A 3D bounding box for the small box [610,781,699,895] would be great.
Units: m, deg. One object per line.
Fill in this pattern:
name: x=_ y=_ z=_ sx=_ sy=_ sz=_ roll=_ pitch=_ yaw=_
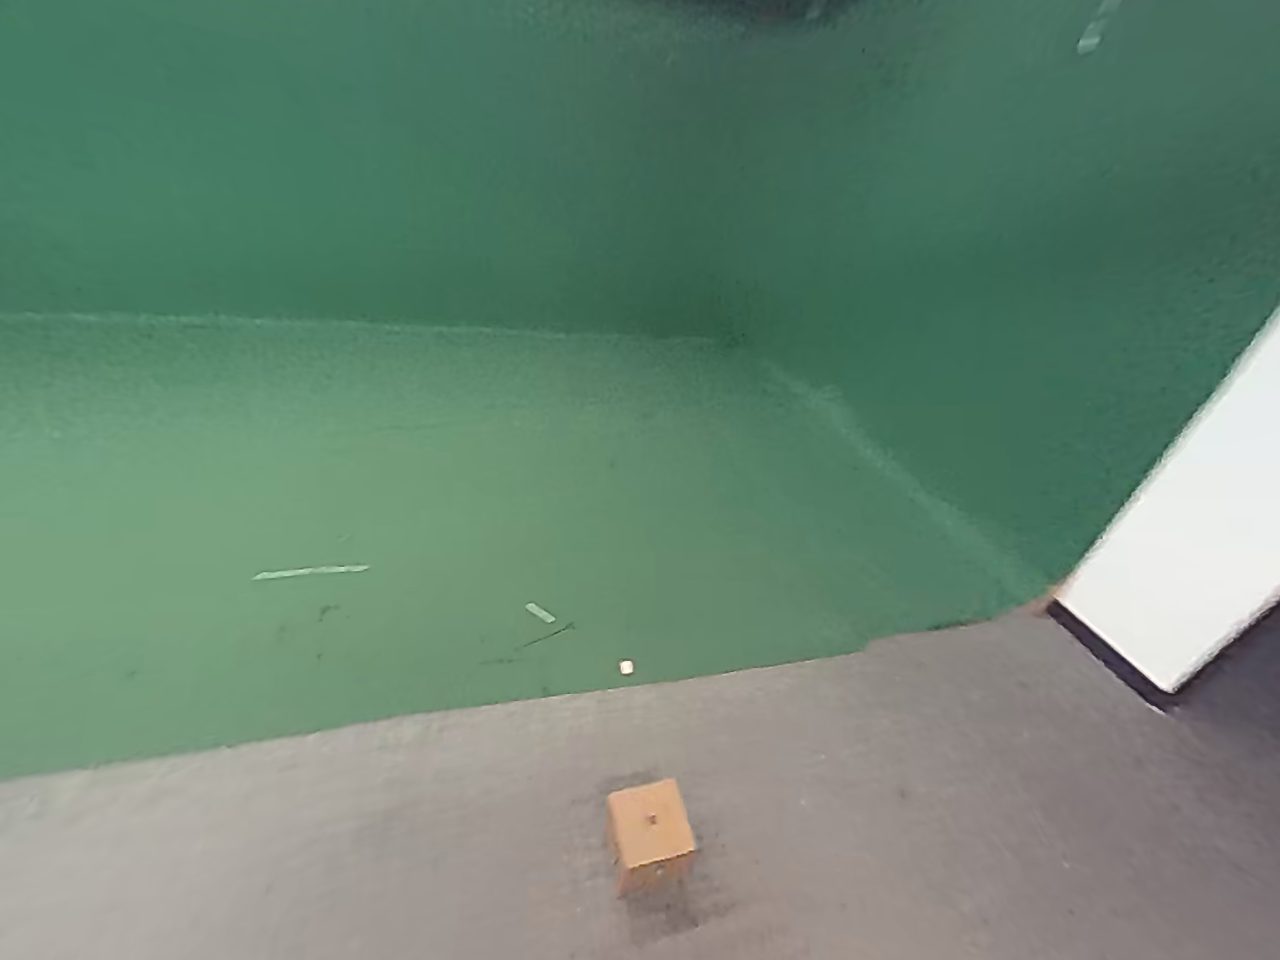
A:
small box: x=0.026 y=0.873 z=1.320 sx=0.179 sy=0.176 sz=0.168 roll=-3 pitch=37 yaw=-17
